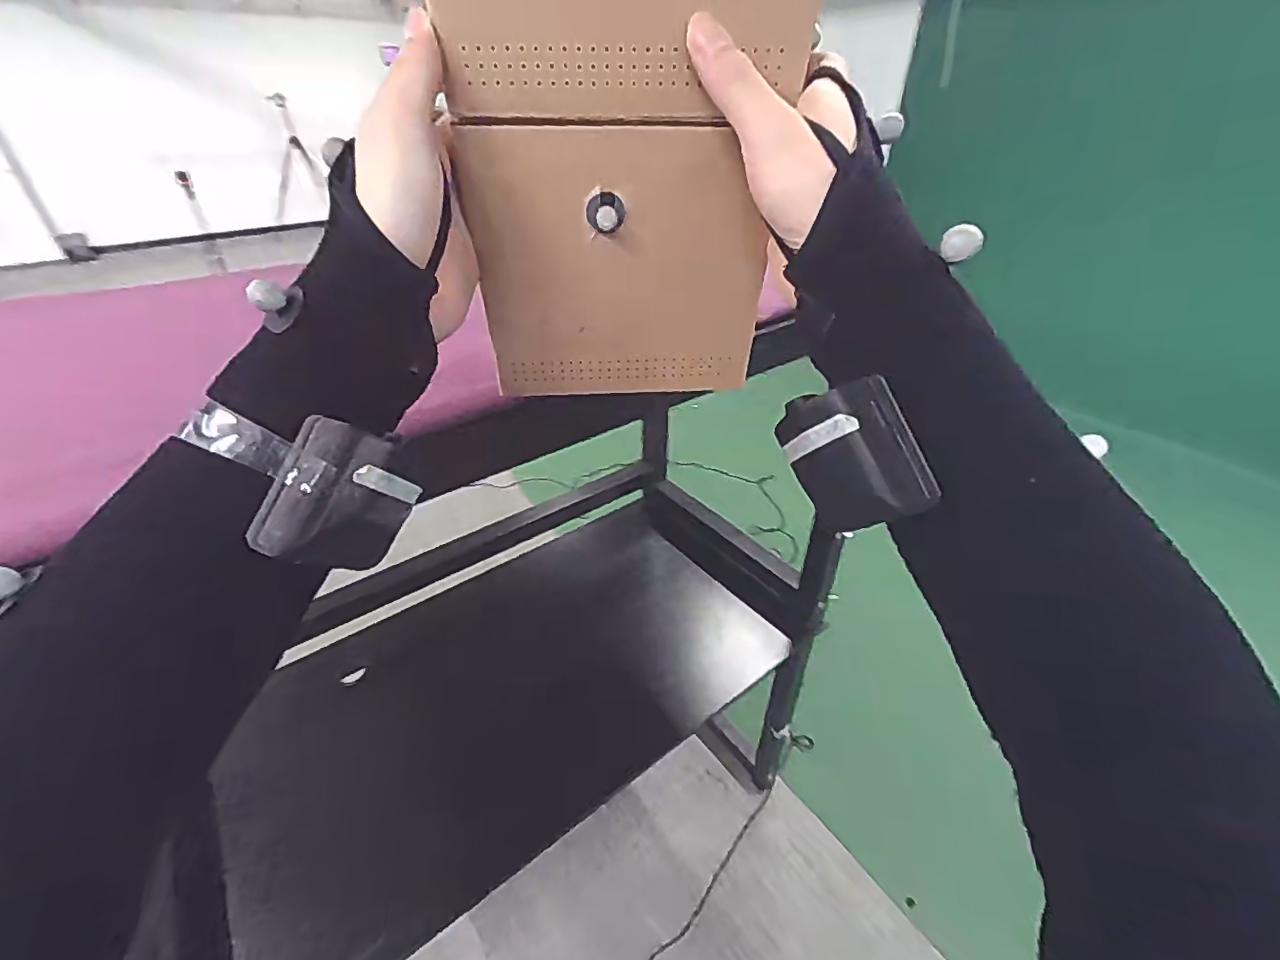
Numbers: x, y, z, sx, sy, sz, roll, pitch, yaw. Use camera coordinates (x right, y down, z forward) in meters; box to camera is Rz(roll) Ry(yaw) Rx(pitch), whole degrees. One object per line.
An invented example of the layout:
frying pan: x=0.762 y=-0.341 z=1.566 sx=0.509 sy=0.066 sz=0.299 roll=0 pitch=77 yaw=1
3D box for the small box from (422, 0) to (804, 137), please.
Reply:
small box: x=-0.015 y=-0.286 z=0.268 sx=0.179 sy=0.176 sz=0.168 roll=-5 pitch=46 yaw=-4

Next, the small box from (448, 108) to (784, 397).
small box: x=-0.015 y=-0.172 z=0.386 sx=0.179 sy=0.176 sz=0.168 roll=-2 pitch=47 yaw=-3
